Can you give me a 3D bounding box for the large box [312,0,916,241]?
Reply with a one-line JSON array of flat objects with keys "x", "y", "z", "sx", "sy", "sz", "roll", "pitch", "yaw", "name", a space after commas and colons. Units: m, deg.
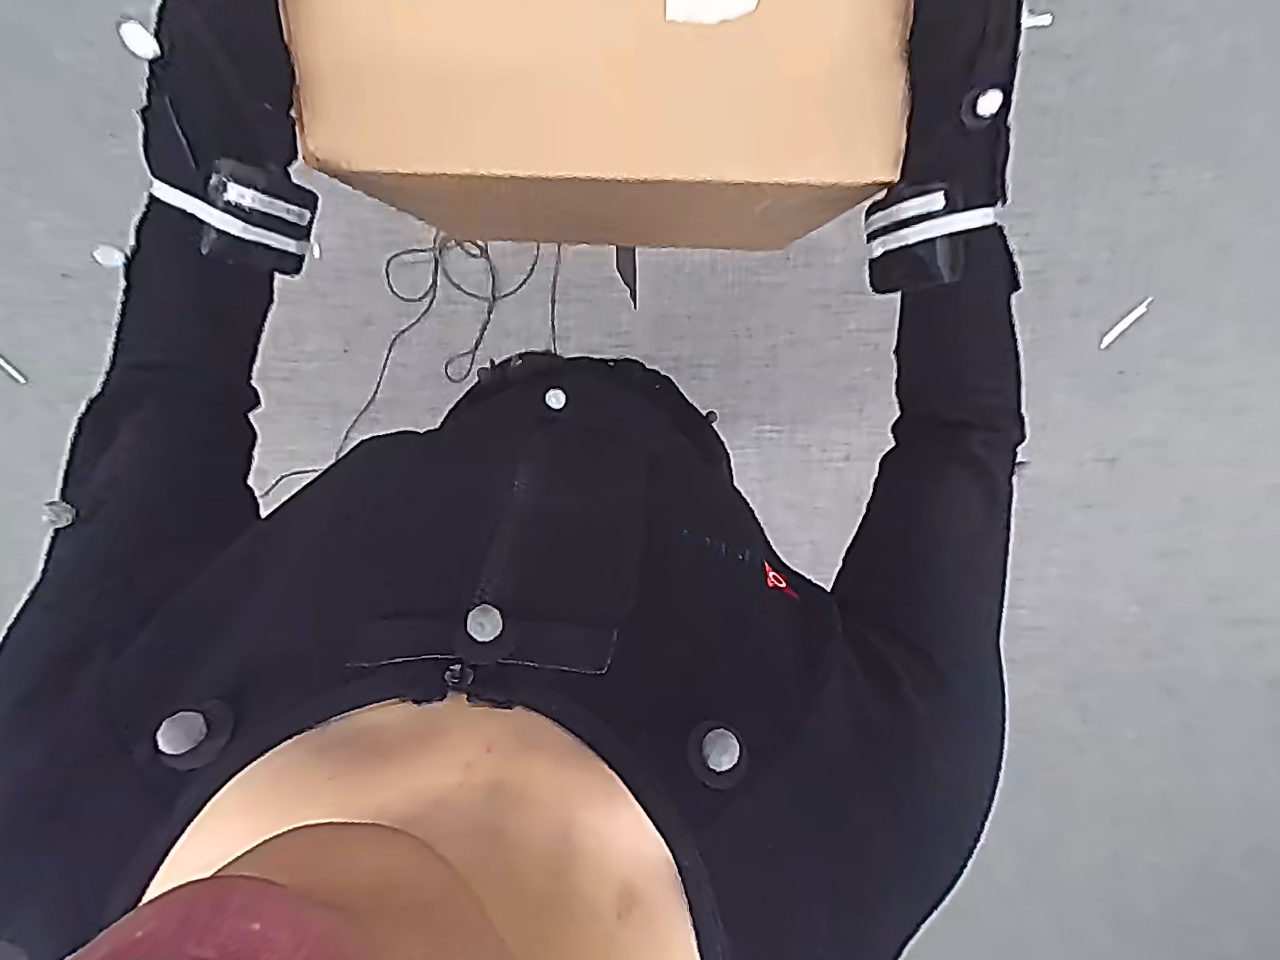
[{"x": -0.018, "y": -0.405, "z": 0.483, "sx": 0.408, "sy": 0.320, "sz": 0.320, "roll": 1, "pitch": 106, "yaw": -1, "name": "large box"}]
